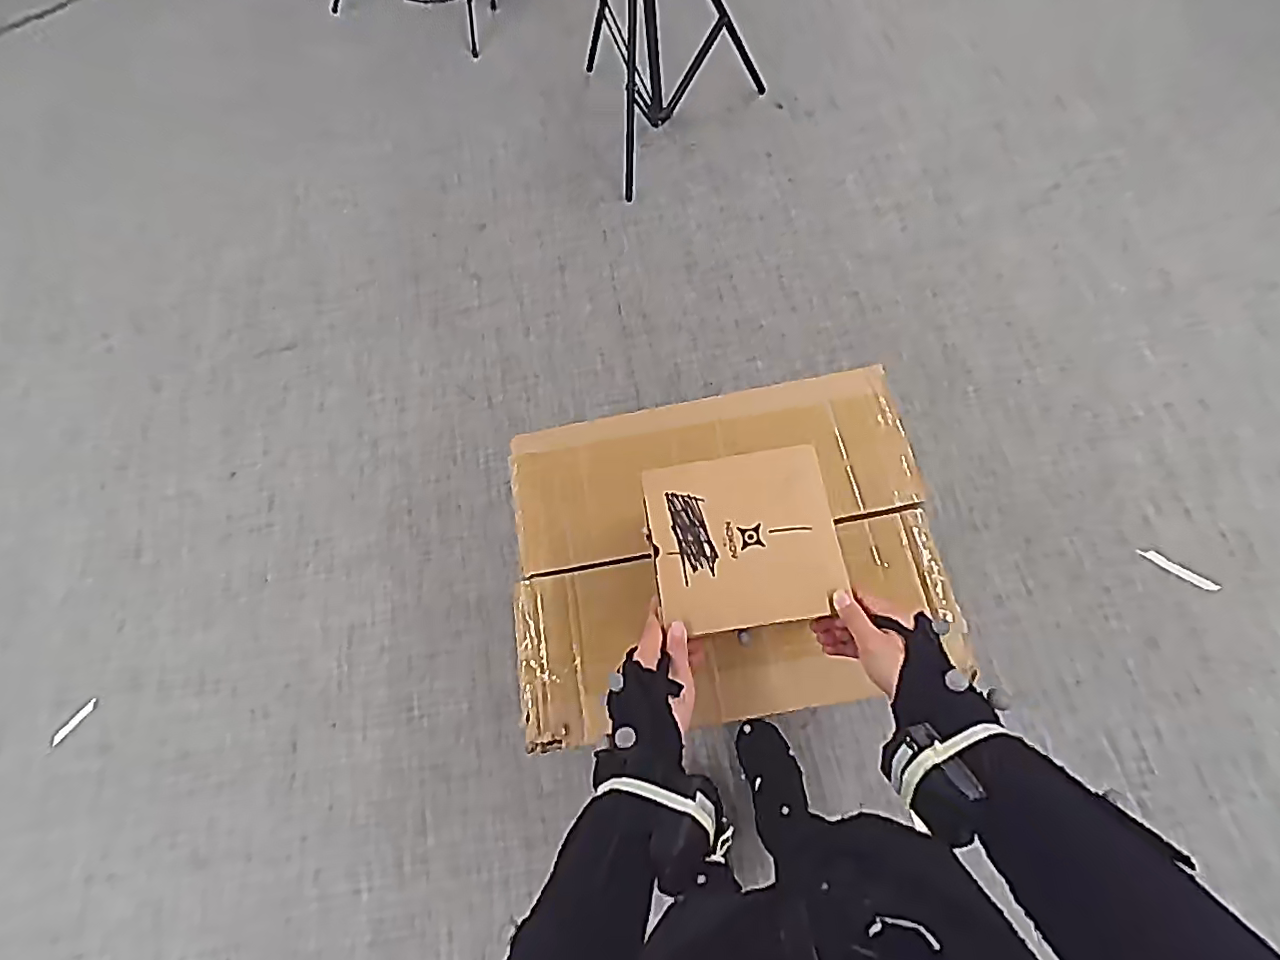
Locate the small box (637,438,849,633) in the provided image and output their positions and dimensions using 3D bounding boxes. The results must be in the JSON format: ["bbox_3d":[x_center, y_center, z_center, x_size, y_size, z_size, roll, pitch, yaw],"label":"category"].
[{"bbox_3d":[0.101,0.072,0.589,0.179,0.176,0.168,-10,73,3],"label":"small box"}]
